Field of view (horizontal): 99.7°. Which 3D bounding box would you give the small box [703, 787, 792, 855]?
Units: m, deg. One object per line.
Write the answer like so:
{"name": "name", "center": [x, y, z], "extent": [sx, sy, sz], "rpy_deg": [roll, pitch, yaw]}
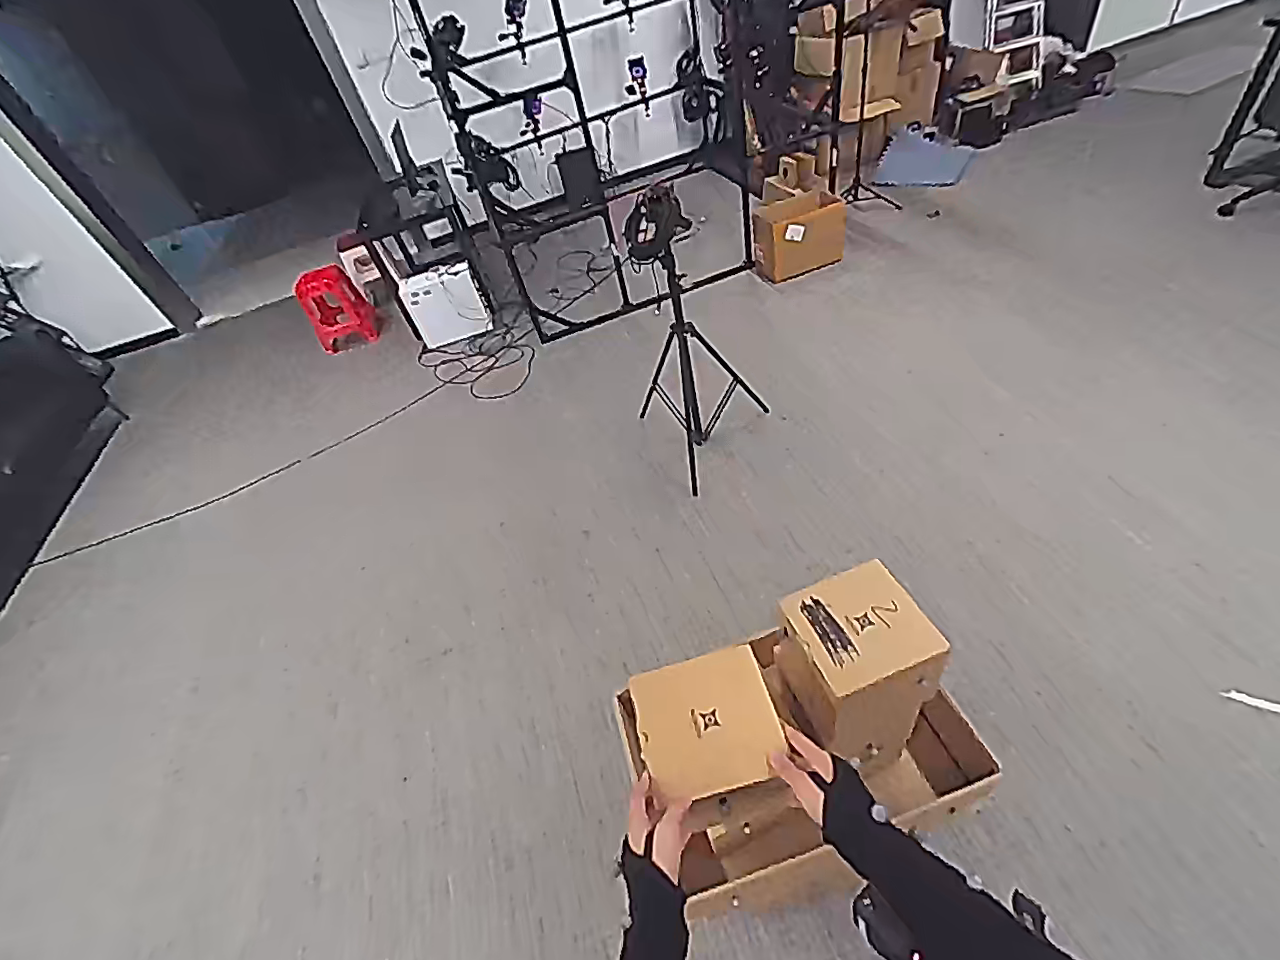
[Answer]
{"name": "small box", "center": [0.173, 0.575, 1.037], "extent": [0.168, 0.176, 0.179], "rpy_deg": [-23, 44, -8]}

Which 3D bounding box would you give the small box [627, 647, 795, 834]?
{"name": "small box", "center": [0.093, 0.357, 0.738], "extent": [0.179, 0.176, 0.168], "rpy_deg": [-16, 48, -2]}
